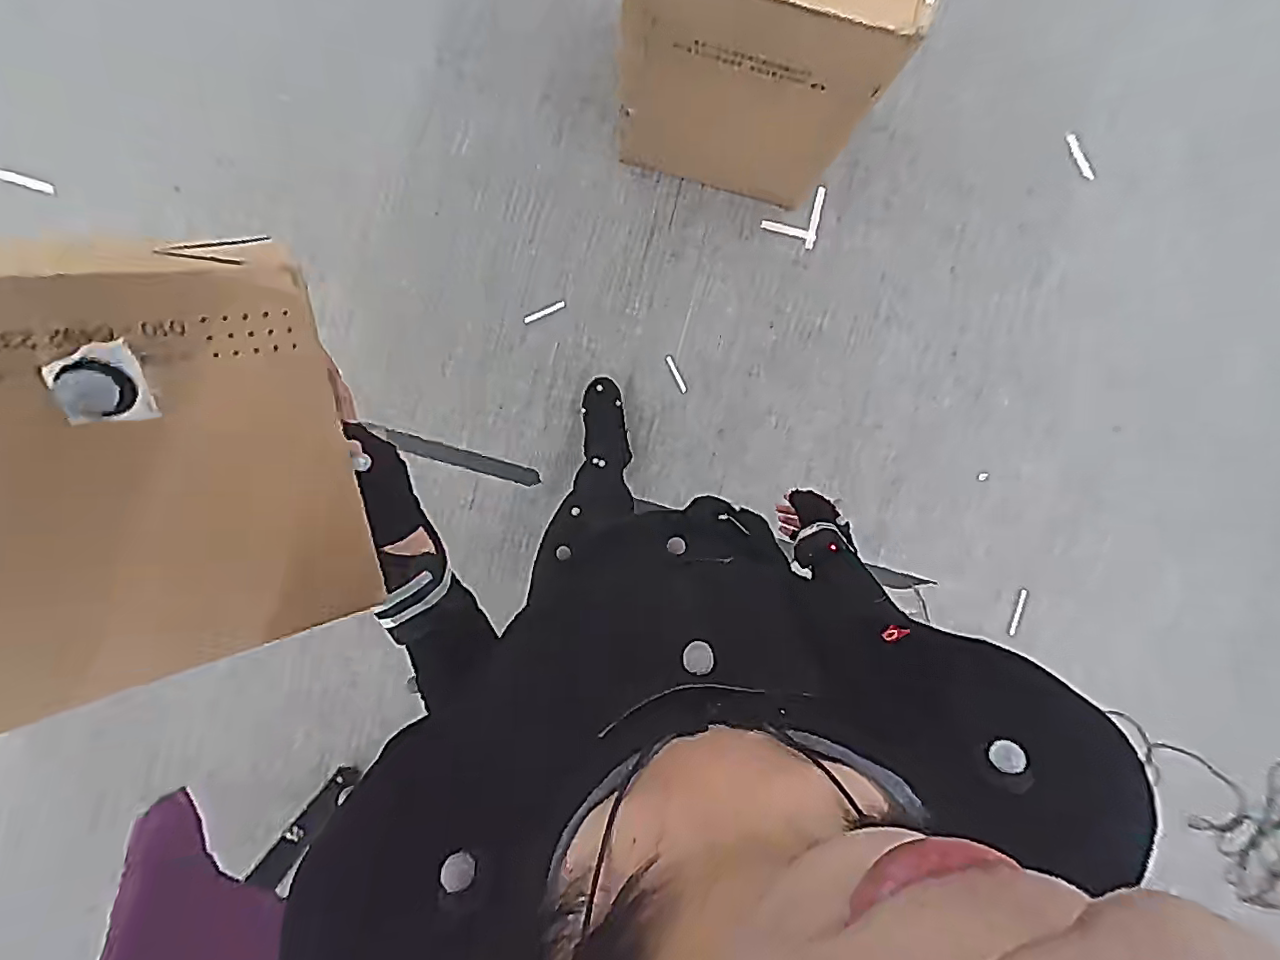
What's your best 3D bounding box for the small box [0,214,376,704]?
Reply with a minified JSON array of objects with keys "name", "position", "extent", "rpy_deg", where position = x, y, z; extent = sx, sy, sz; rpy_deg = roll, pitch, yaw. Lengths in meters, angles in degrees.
[{"name":"small box","position":[-0.247,-0.033,0.261],"extent":[0.168,0.179,0.176],"rpy_deg":[-17,122,-27]}]
